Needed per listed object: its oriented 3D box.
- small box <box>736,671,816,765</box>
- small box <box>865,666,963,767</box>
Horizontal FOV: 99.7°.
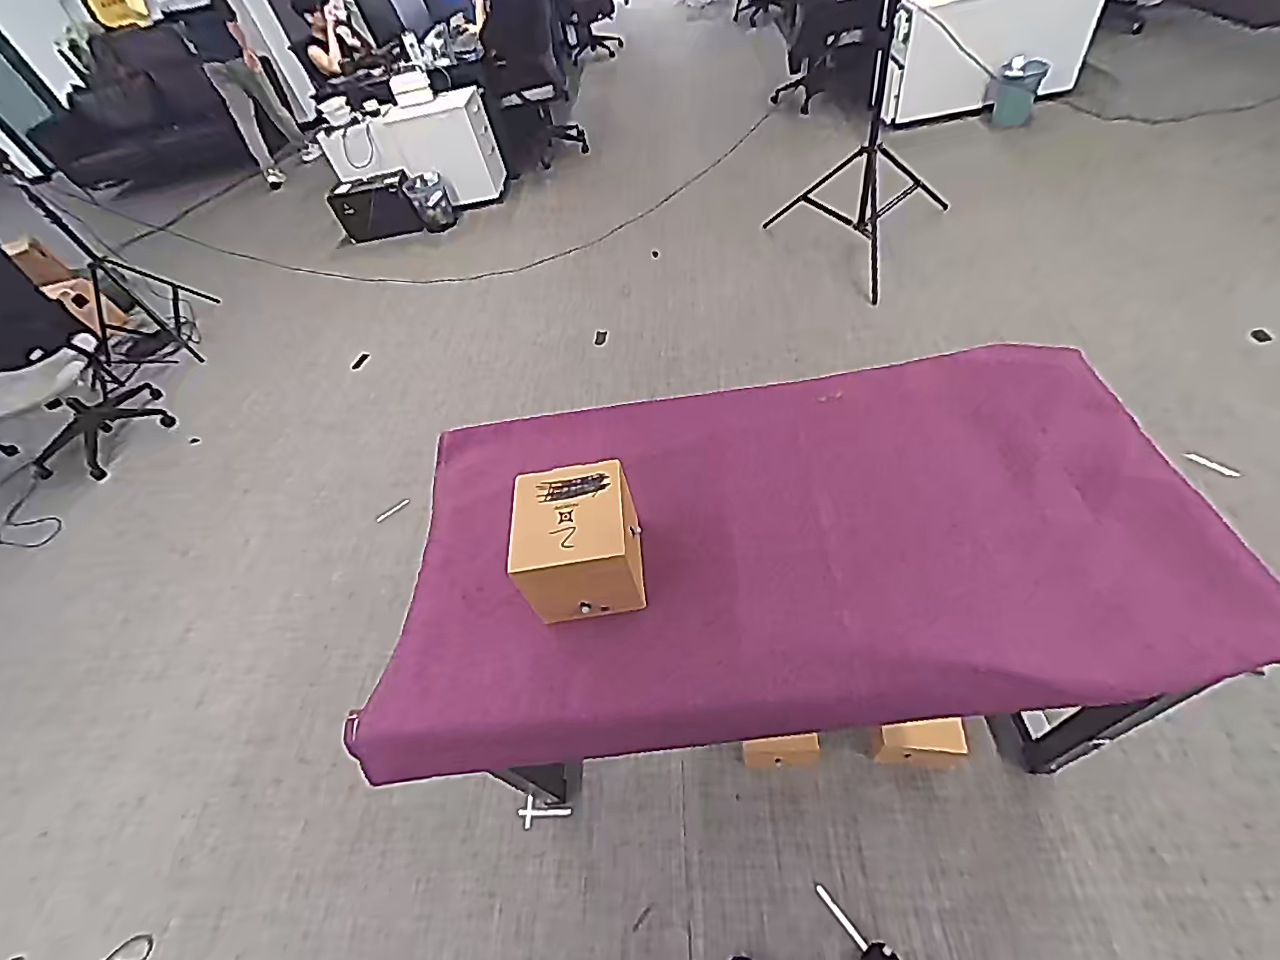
[{"bbox_3d":[0.325,0.580,1.309,0.168,0.176,0.179,-5,50,8],"label":"small box"},{"bbox_3d":[0.629,0.555,1.263,0.168,0.176,0.179,0,51,14],"label":"small box"}]
